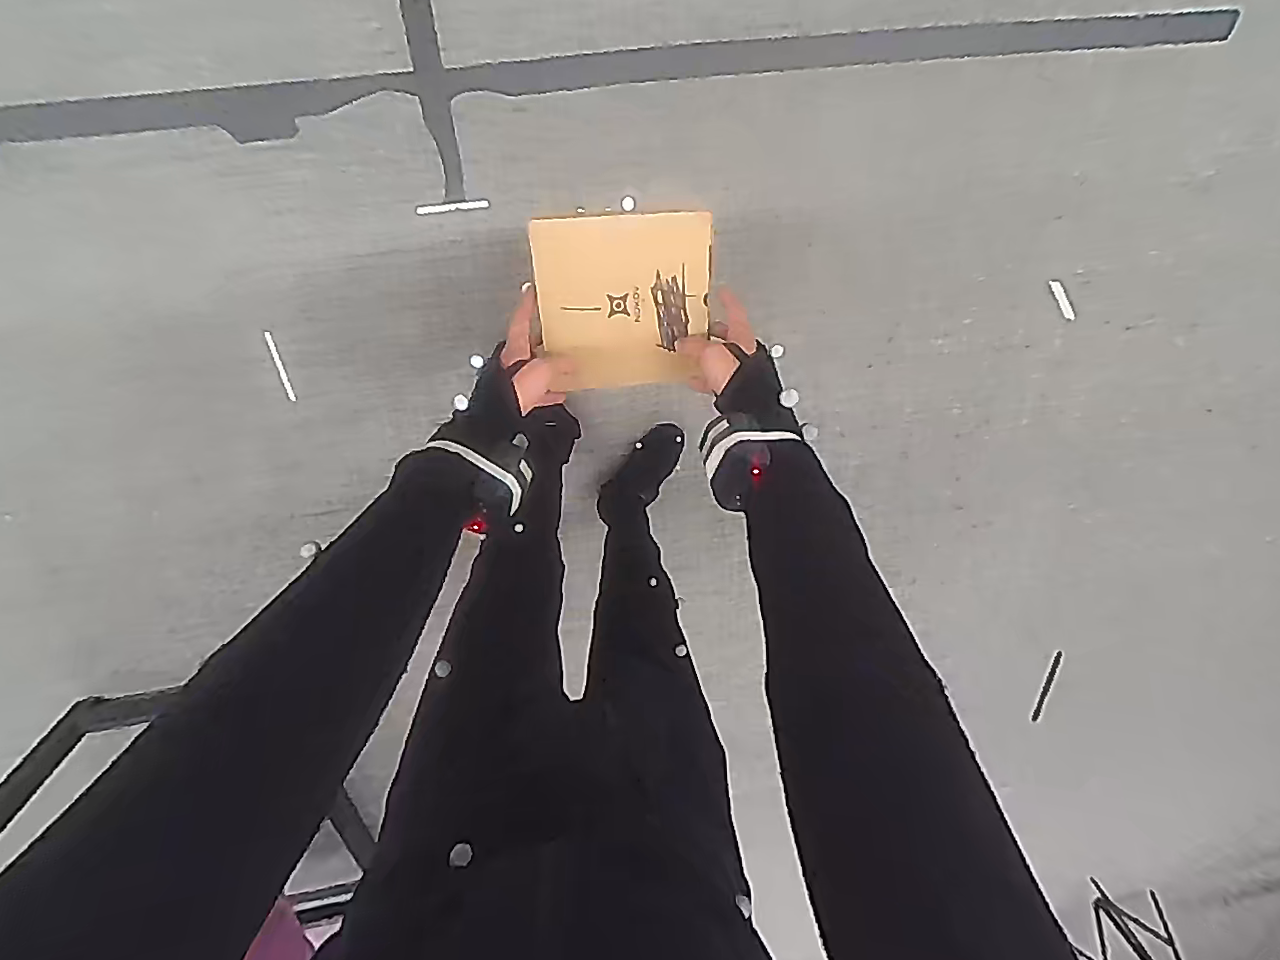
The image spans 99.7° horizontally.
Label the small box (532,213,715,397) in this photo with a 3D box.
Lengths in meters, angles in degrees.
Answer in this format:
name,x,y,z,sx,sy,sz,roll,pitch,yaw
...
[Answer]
name,x,y,z,sx,sy,sz,roll,pitch,yaw
small box,-0.024,-0.204,0.607,0.179,0.176,0.168,-6,118,-6
